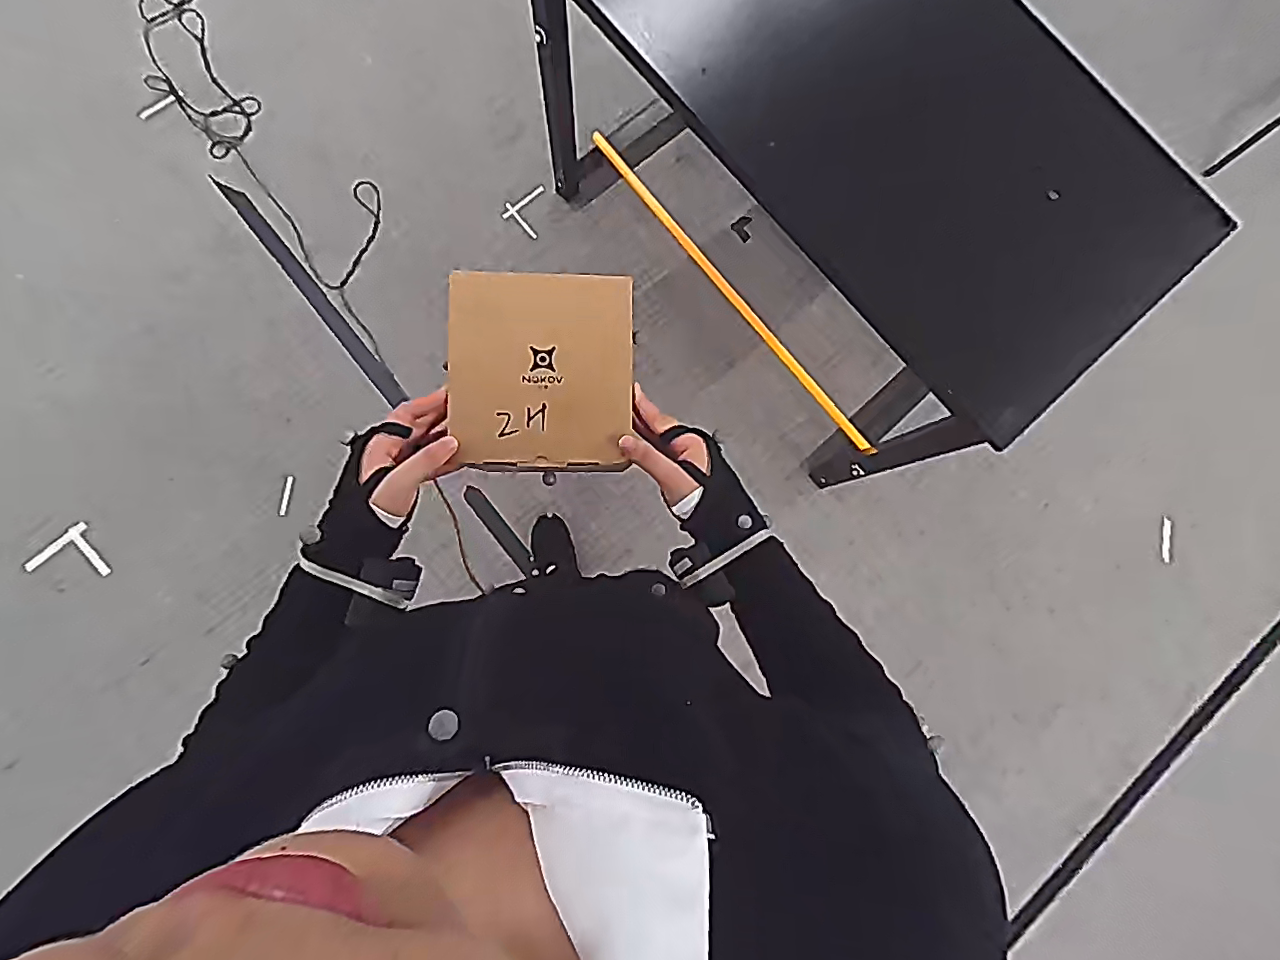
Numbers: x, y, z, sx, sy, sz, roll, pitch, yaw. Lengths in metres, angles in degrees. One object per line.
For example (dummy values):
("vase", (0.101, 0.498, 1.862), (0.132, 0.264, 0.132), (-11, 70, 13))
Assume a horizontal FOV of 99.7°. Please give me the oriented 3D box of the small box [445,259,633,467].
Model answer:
("small box", (-0.097, -0.107, 0.565), (0.168, 0.176, 0.179), (1, 89, -5))
